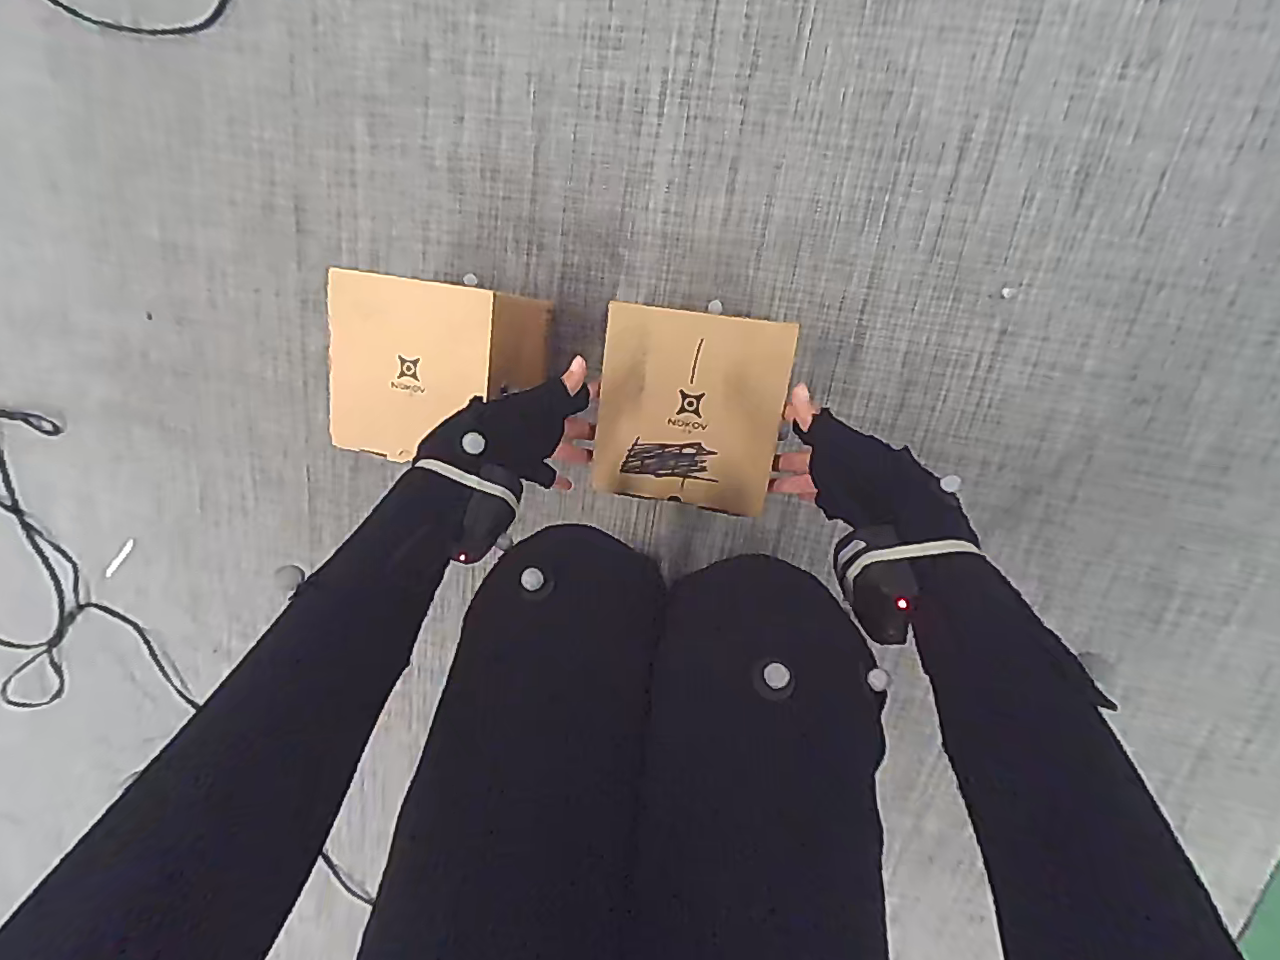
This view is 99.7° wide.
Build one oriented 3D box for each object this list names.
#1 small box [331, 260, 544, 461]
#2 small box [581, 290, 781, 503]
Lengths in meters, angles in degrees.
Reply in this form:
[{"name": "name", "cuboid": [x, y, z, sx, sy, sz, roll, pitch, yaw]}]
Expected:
[{"name": "small box", "cuboid": [-0.215, -0.135, 0.607, 0.168, 0.176, 0.179, 10, 106, 7]}, {"name": "small box", "cuboid": [0.046, -0.094, 0.572, 0.168, 0.176, 0.179, 10, 105, 7]}]
